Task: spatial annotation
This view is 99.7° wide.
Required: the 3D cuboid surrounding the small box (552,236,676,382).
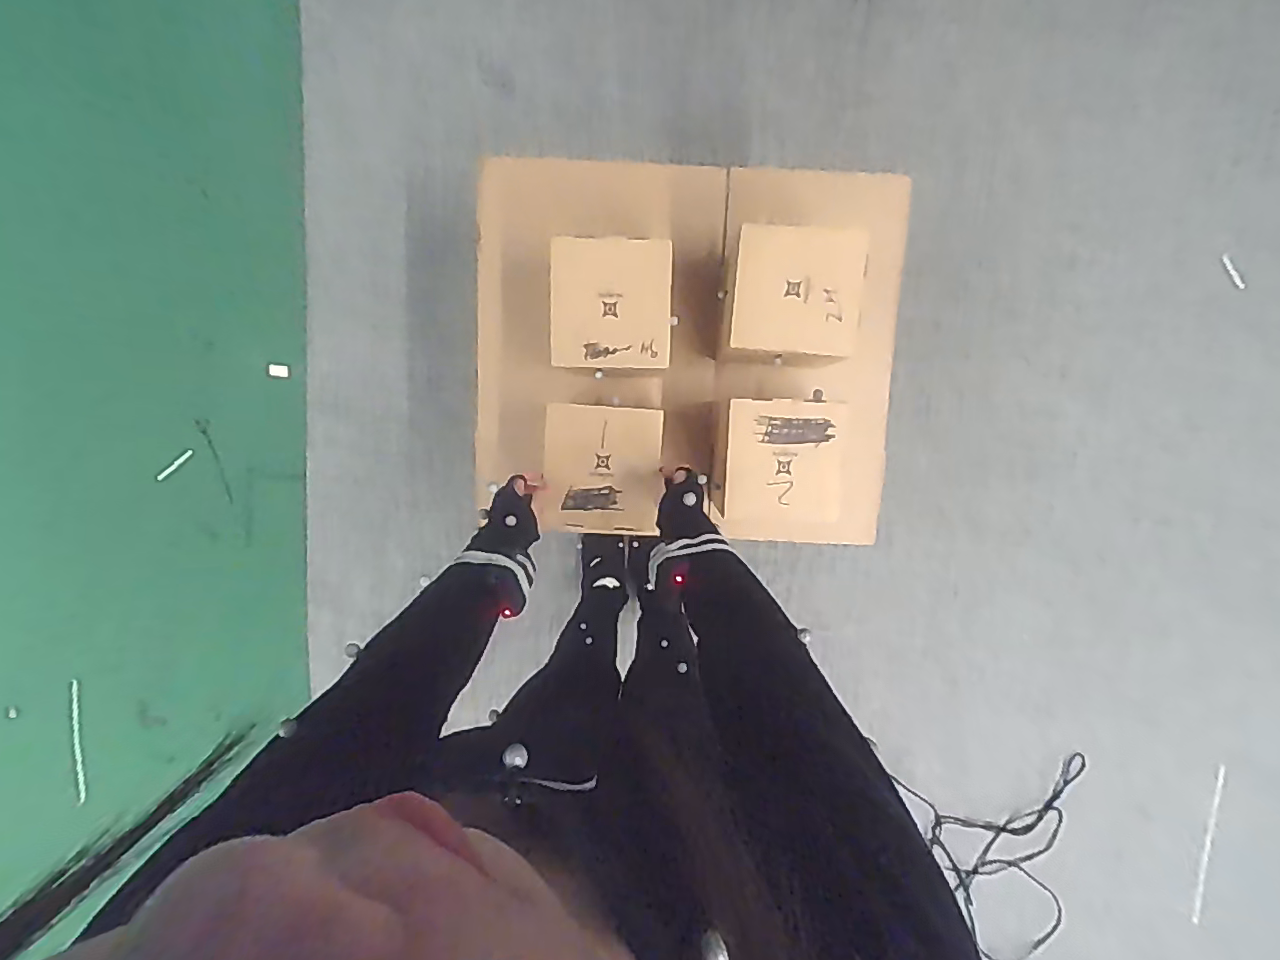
[{"bbox_3d":[-0.035,-0.247,0.812,0.168,0.176,0.179,2,95,2],"label":"small box"}]
